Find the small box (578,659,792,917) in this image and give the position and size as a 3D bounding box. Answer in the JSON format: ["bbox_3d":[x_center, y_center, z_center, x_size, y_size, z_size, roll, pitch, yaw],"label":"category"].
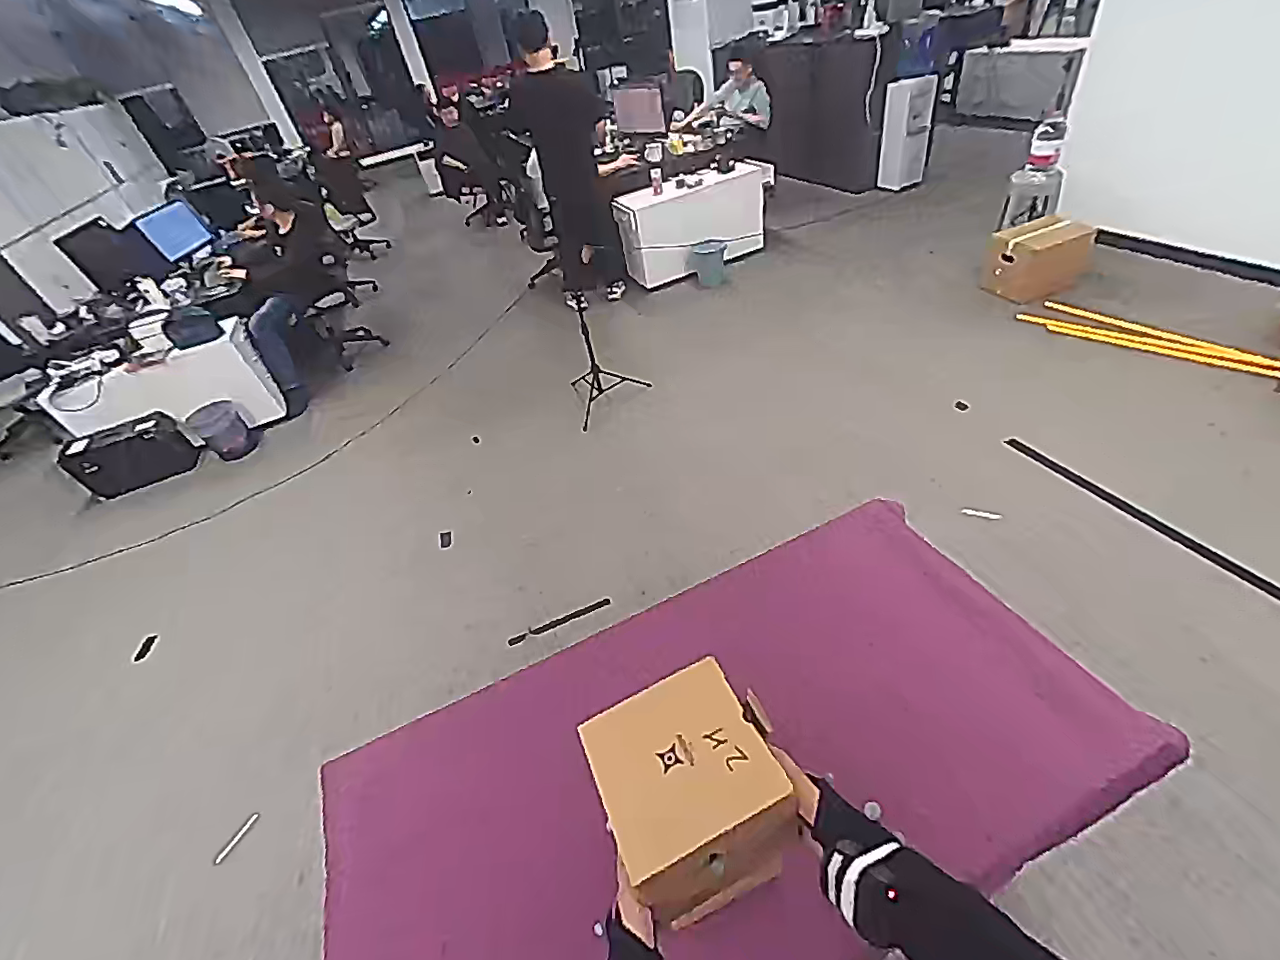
[{"bbox_3d":[0.055,0.345,0.607,0.179,0.176,0.168,-25,41,-10],"label":"small box"}]
